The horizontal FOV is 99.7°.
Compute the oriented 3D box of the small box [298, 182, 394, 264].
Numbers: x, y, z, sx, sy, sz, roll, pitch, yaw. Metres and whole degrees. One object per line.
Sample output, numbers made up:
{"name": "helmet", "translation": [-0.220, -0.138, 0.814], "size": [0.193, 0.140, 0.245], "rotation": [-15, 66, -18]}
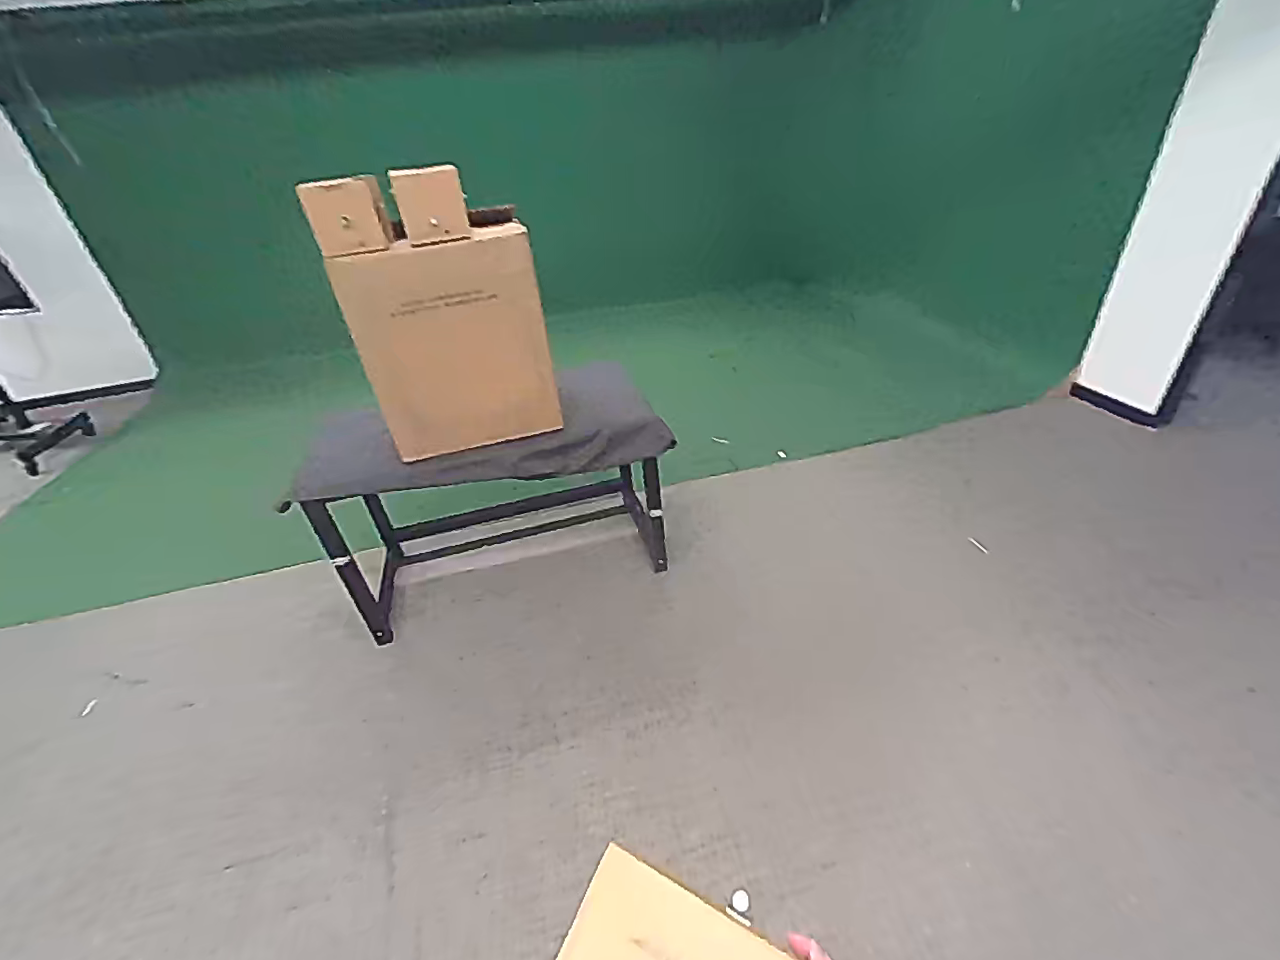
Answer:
{"name": "small box", "translation": [-0.786, -0.695, 1.467], "size": [0.168, 0.176, 0.179], "rotation": [-14, 34, -10]}
